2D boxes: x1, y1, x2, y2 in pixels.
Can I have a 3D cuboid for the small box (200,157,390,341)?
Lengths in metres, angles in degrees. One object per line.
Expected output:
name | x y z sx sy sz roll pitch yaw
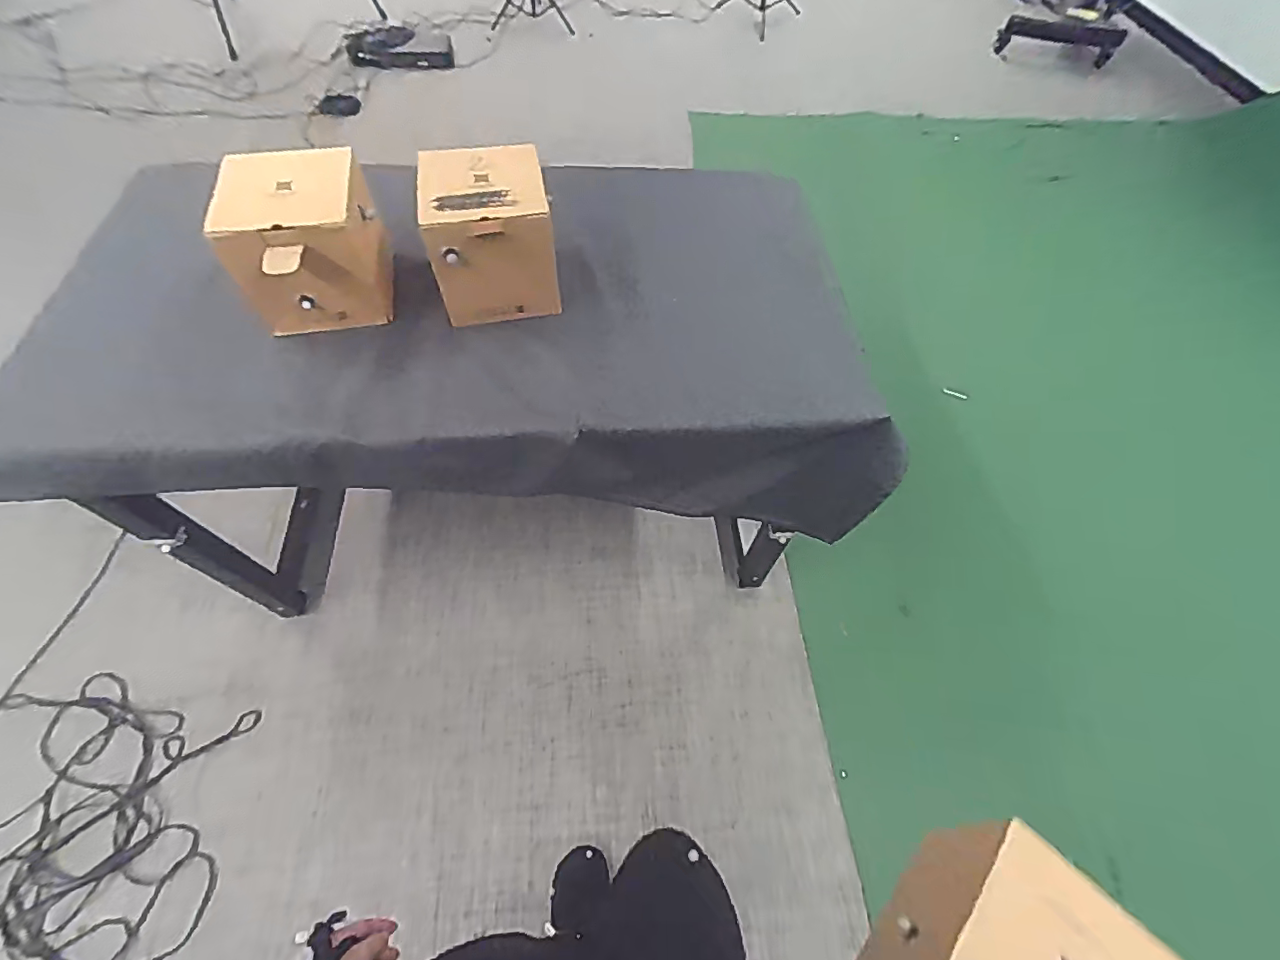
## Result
small box | -0.469 -0.324 0.766 0.168 0.176 0.179 -10 60 -9
